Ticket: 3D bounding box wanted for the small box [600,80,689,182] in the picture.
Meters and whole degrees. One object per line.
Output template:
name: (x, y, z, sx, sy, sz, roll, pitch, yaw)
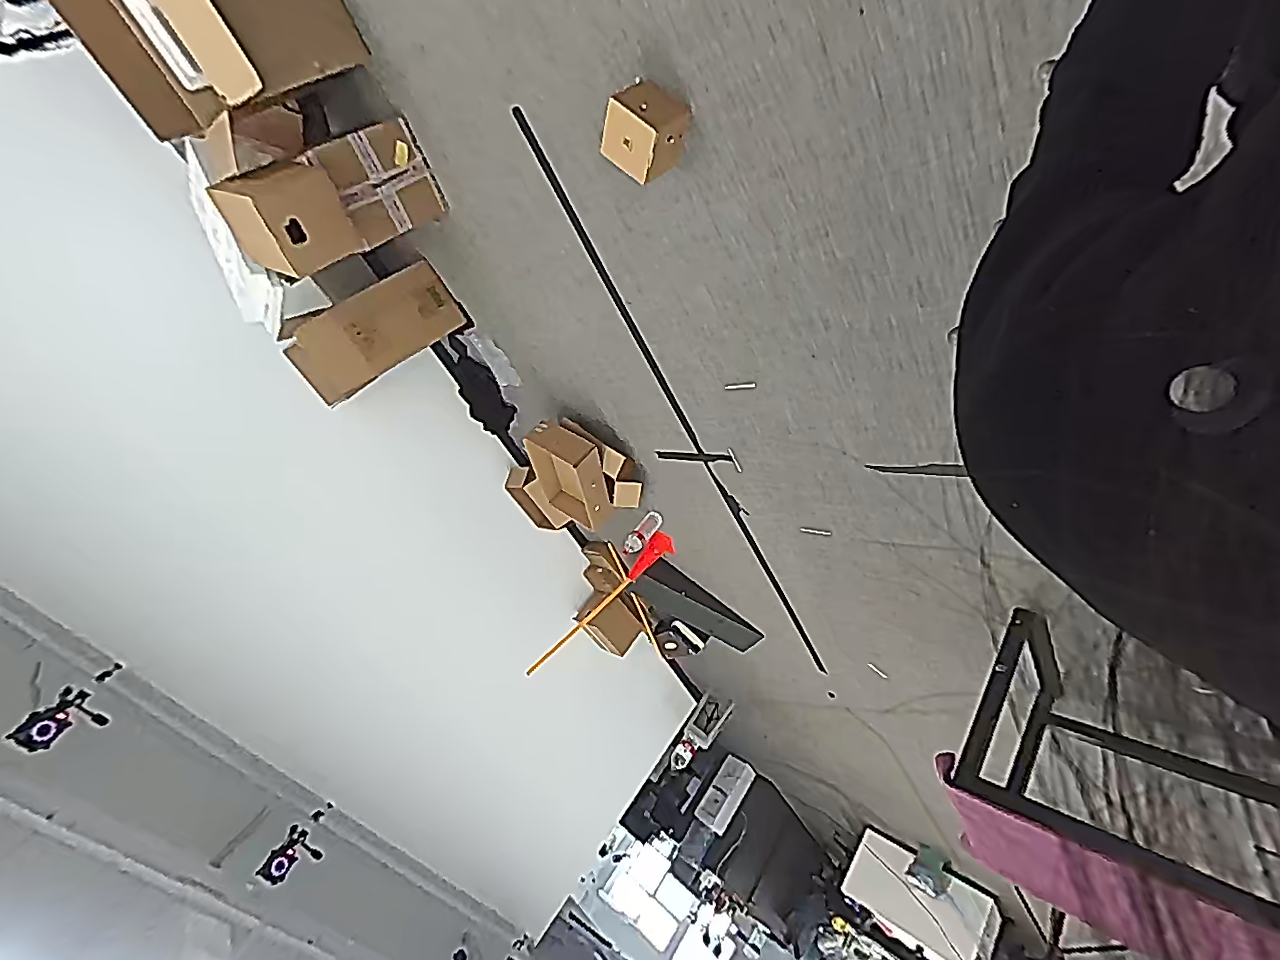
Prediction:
small box: (0.014, -1.016, 1.568, 0.179, 0.176, 0.168, 41, 152, 7)
